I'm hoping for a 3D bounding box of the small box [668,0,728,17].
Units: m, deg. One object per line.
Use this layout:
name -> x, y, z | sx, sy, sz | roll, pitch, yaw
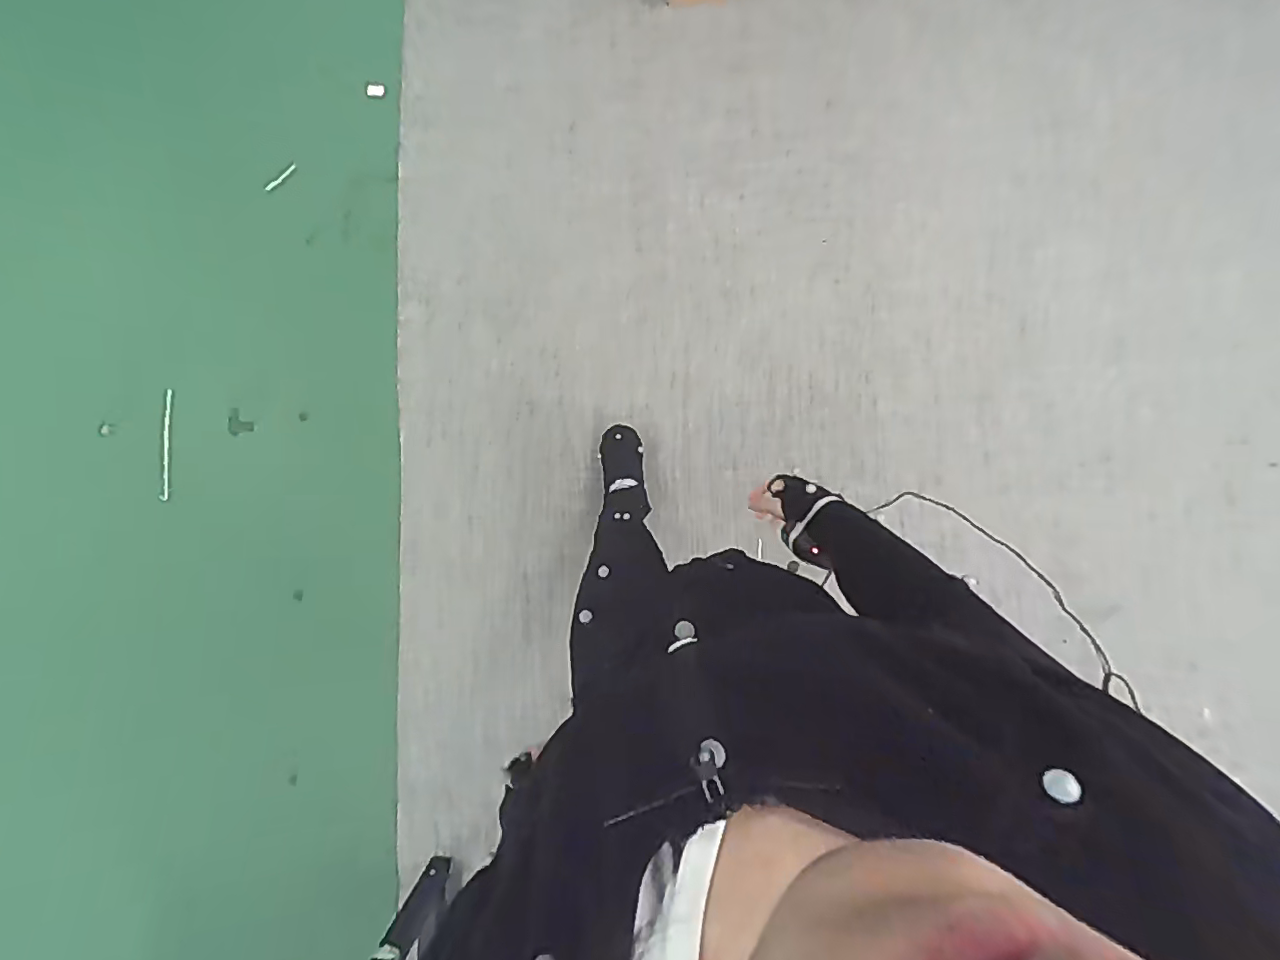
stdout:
small box -> 0.167, -1.451, 1.514 | 0.179, 0.176, 0.168 | -5, 86, 0
